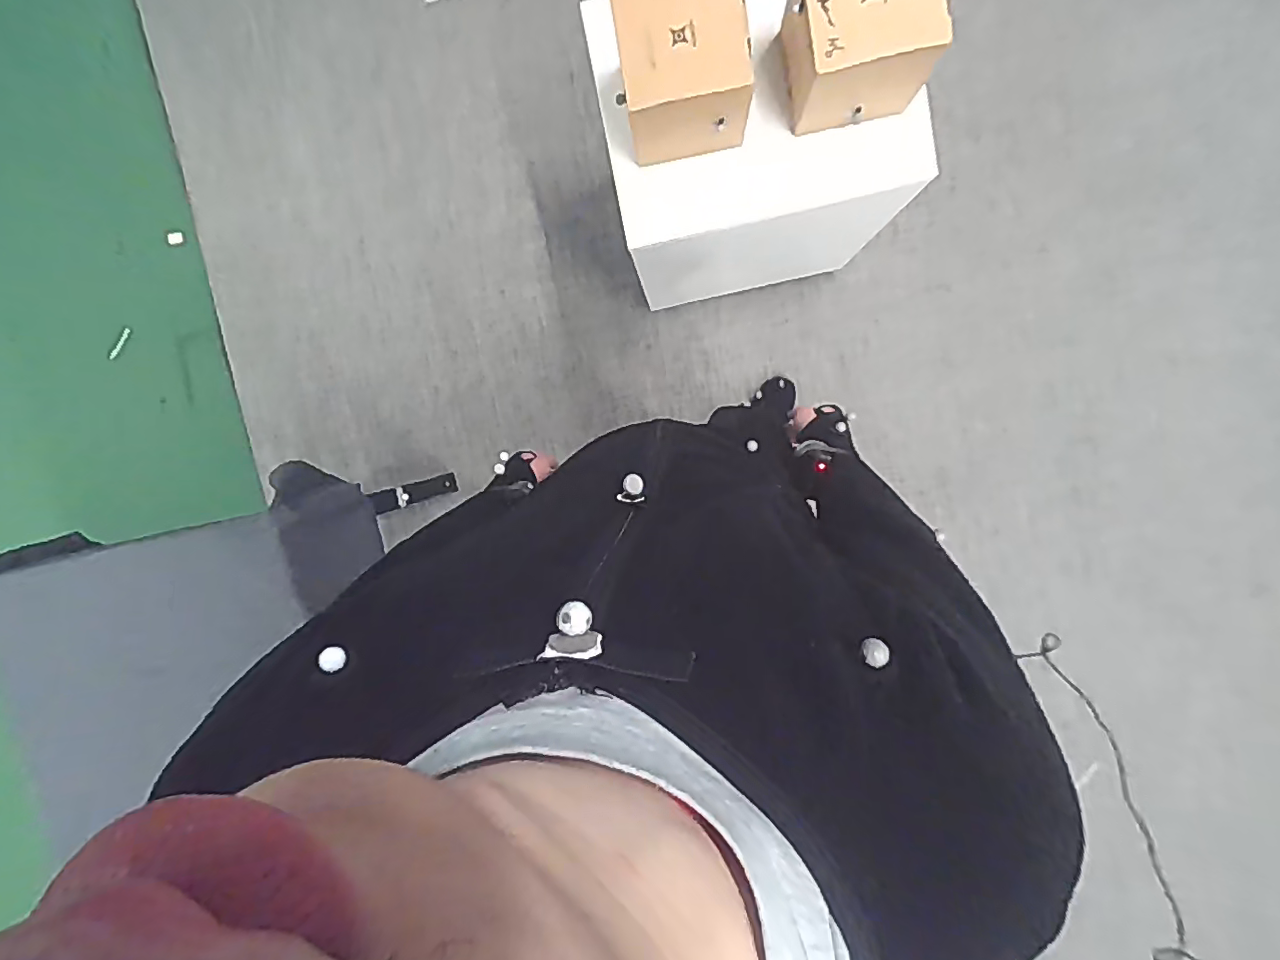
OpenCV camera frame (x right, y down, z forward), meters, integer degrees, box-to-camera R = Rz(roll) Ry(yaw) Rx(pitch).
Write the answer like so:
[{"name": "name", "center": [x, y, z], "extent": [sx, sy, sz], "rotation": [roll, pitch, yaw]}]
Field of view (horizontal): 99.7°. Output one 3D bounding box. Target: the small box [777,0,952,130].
[{"name": "small box", "center": [0.306, -0.636, 0.766], "extent": [0.179, 0.176, 0.168], "rotation": [-9, 97, 5]}]

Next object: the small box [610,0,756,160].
[{"name": "small box", "center": [0.060, -0.602, 0.789], "extent": [0.179, 0.176, 0.168], "rotation": [-10, 96, 6]}]
